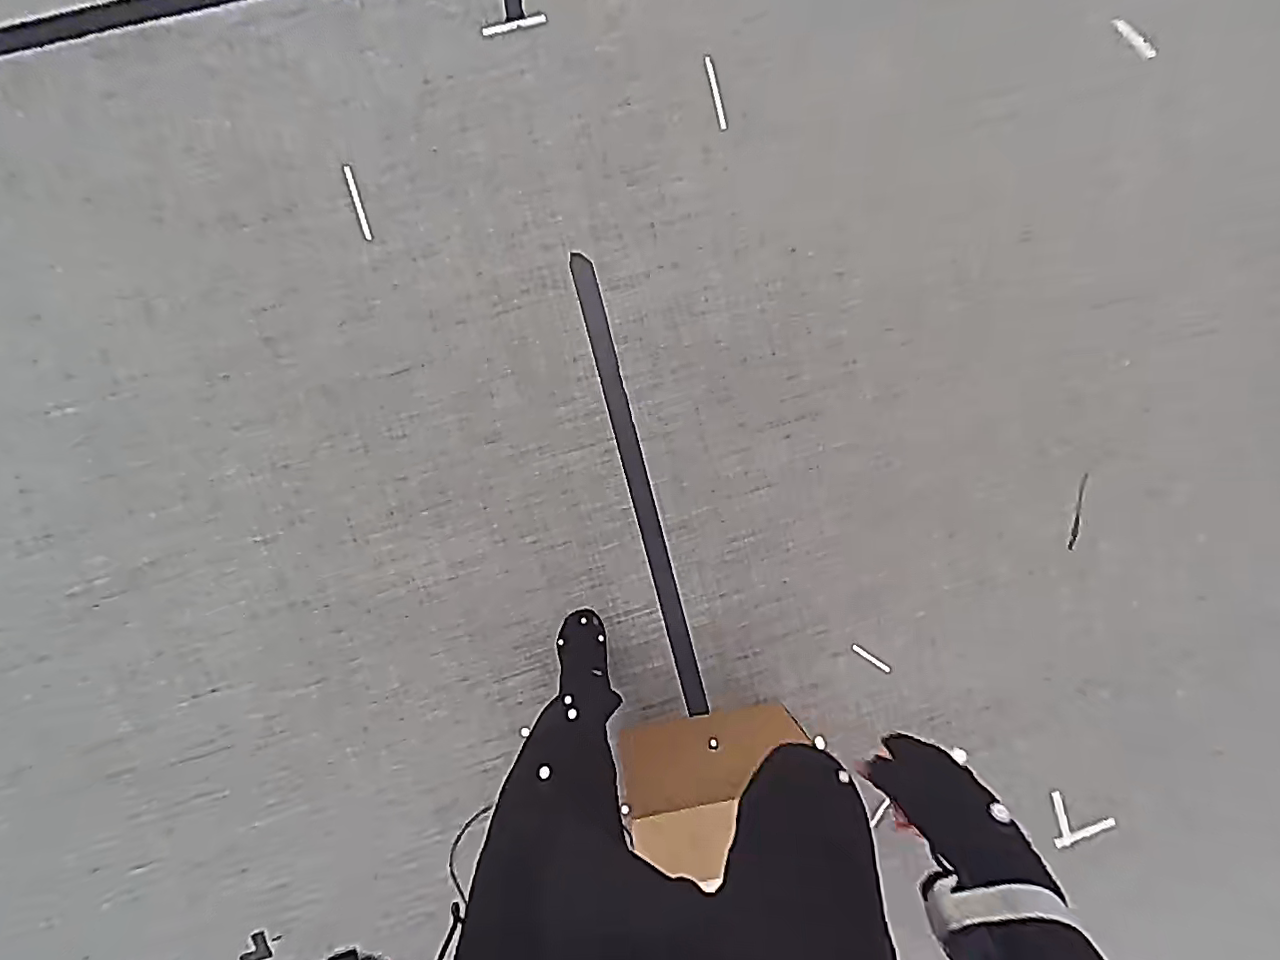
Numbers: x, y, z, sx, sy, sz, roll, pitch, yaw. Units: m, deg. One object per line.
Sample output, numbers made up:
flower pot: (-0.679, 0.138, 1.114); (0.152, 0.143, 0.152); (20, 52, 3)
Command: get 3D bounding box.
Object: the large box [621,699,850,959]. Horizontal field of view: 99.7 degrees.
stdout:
large box: (0.185, 0.729, 1.179); (0.408, 0.320, 0.320); (-8, 96, -6)
